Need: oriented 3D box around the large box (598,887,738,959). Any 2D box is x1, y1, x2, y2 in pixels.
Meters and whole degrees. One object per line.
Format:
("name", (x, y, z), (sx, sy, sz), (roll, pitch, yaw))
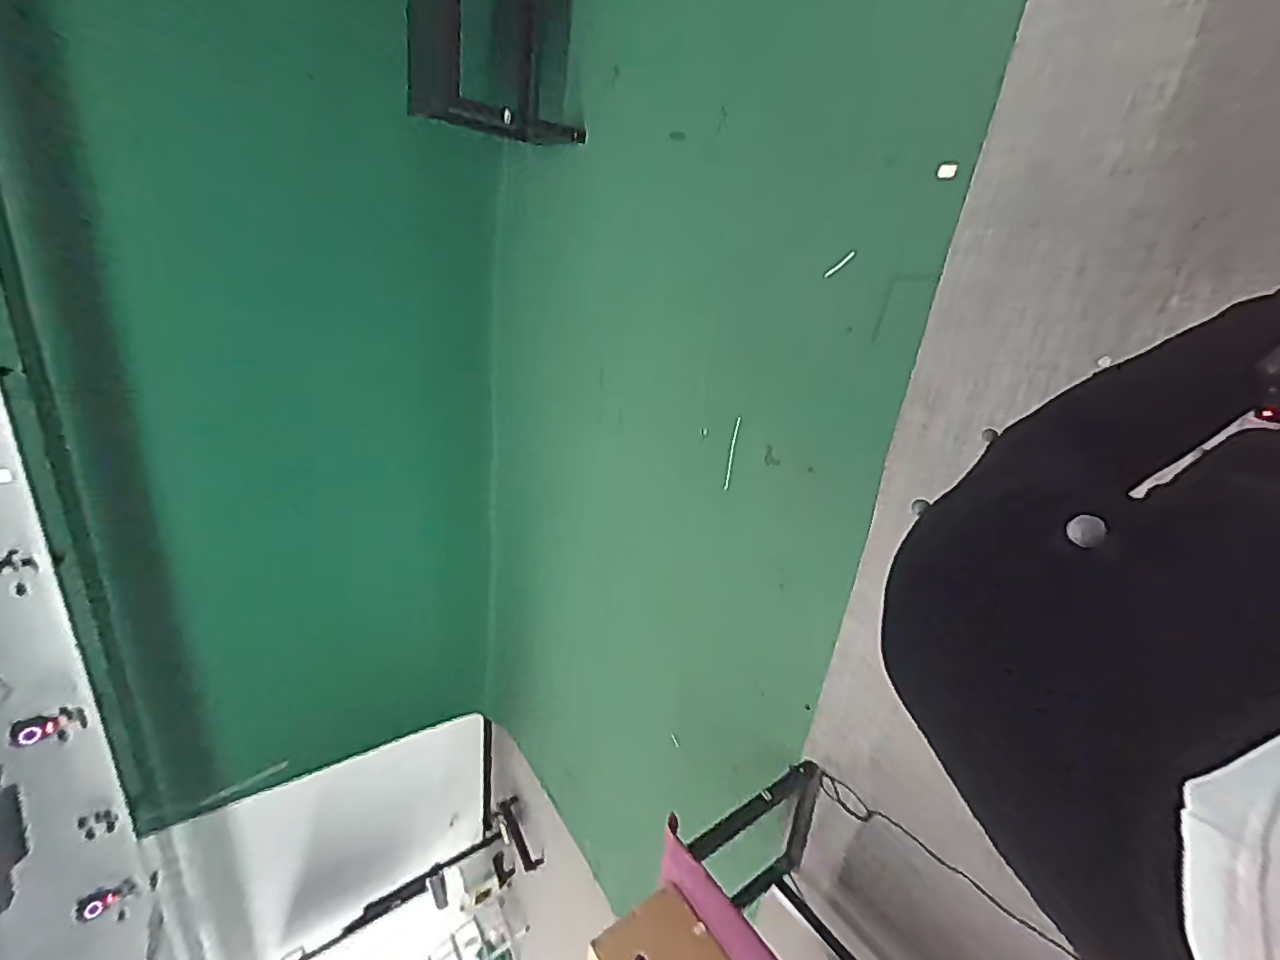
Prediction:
("large box", (0.076, 1.525, 1.569), (0.320, 0.320, 0.408), (29, 119, 46))
